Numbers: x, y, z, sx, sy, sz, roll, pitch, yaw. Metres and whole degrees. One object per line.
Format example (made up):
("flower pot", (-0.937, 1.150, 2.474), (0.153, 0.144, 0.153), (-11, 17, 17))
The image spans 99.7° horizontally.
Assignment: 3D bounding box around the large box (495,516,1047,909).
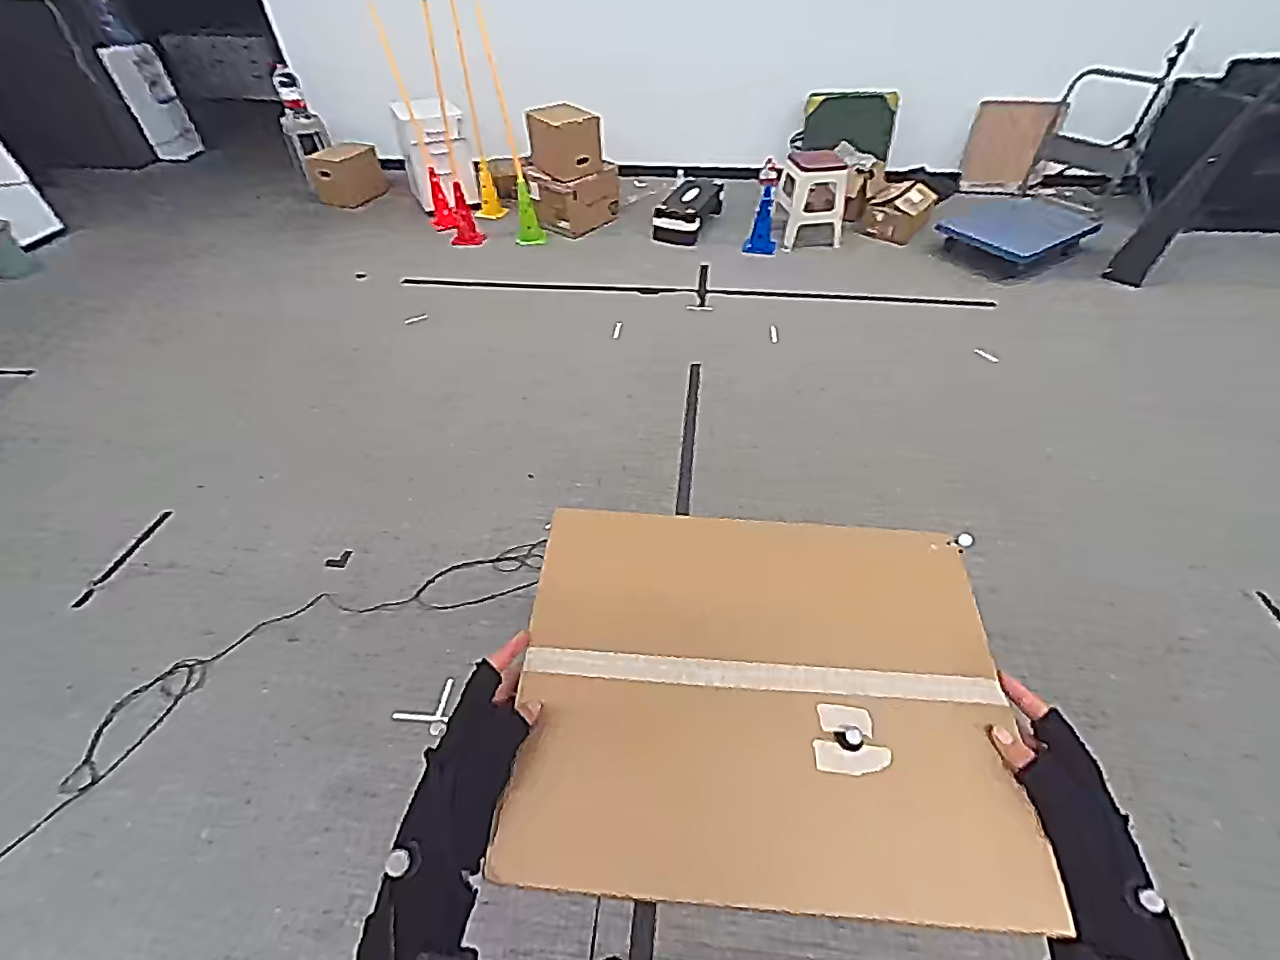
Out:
("large box", (0.095, 0.256, 0.590), (0.408, 0.320, 0.320), (3, 55, 1))
